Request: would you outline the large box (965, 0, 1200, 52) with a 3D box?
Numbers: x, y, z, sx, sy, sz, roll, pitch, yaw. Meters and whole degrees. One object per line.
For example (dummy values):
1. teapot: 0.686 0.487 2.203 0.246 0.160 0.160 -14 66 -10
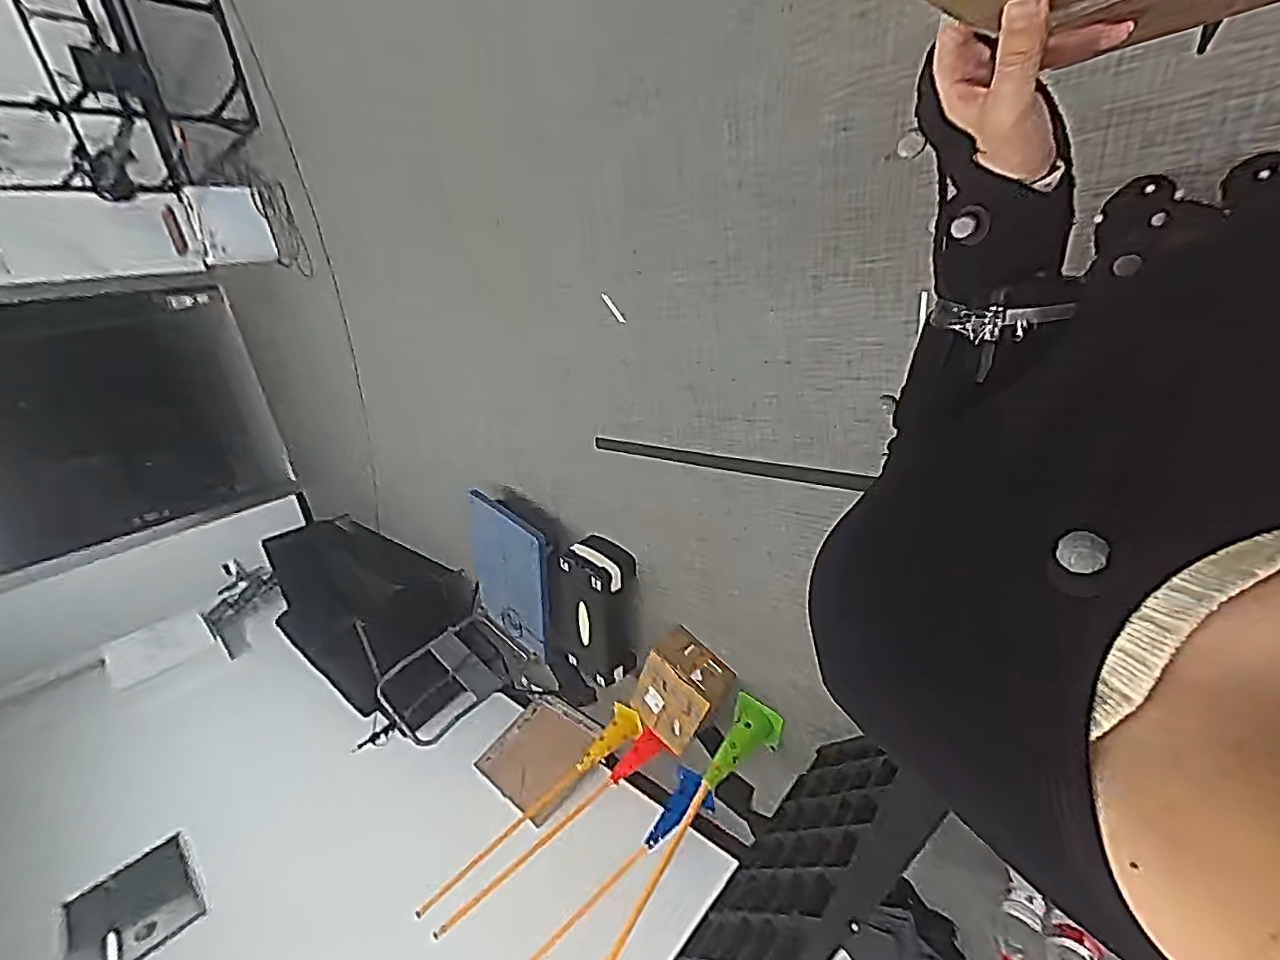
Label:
1. large box: 0.286 -0.351 0.087 0.408 0.320 0.320 12 120 44
